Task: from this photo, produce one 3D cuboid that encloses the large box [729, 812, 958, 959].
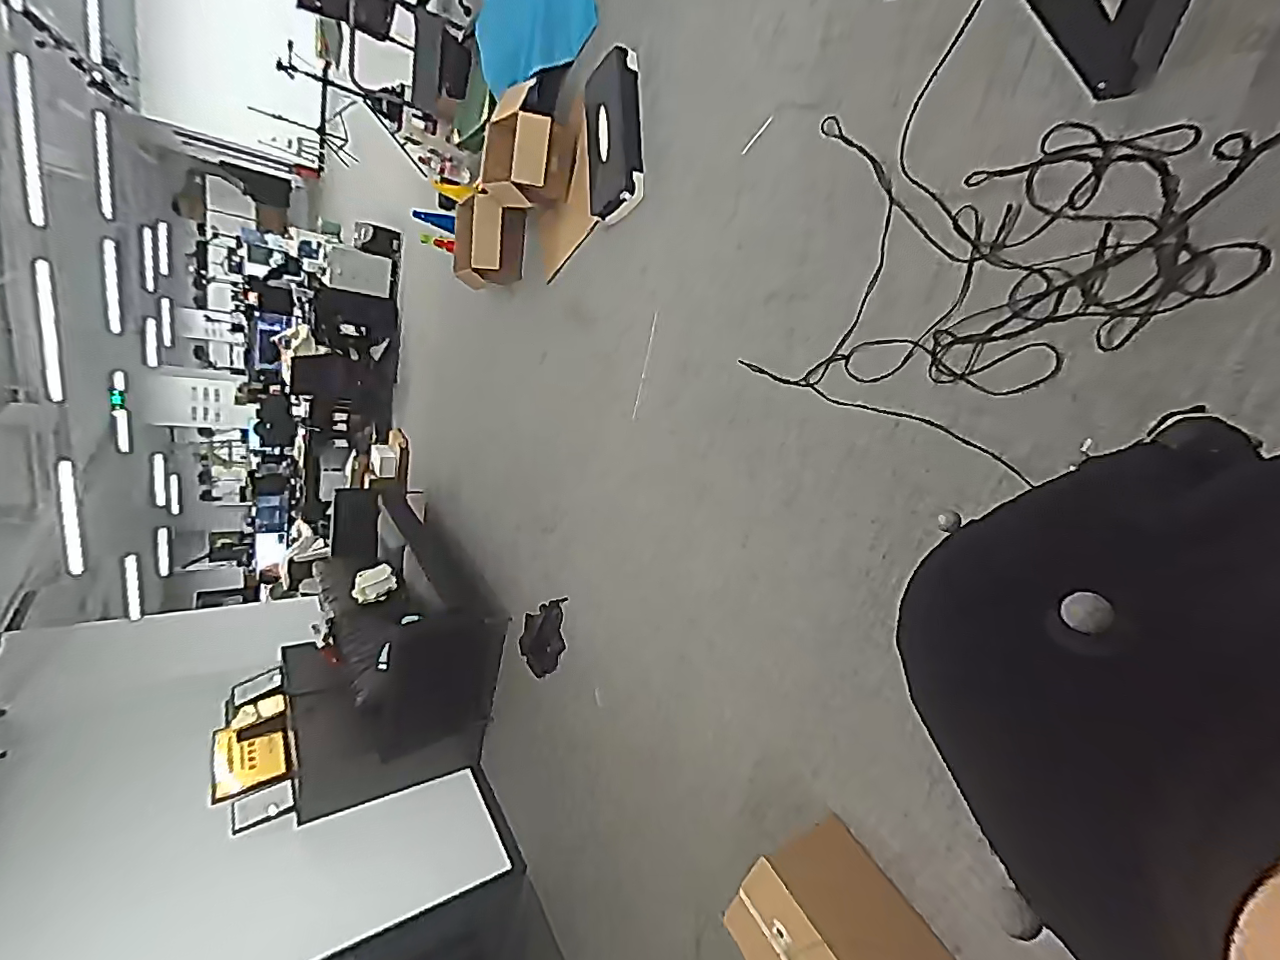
[{"bbox_3d":[0.516,1.197,1.420,0.408,0.320,0.320,45,124,45],"label":"large box"}]
